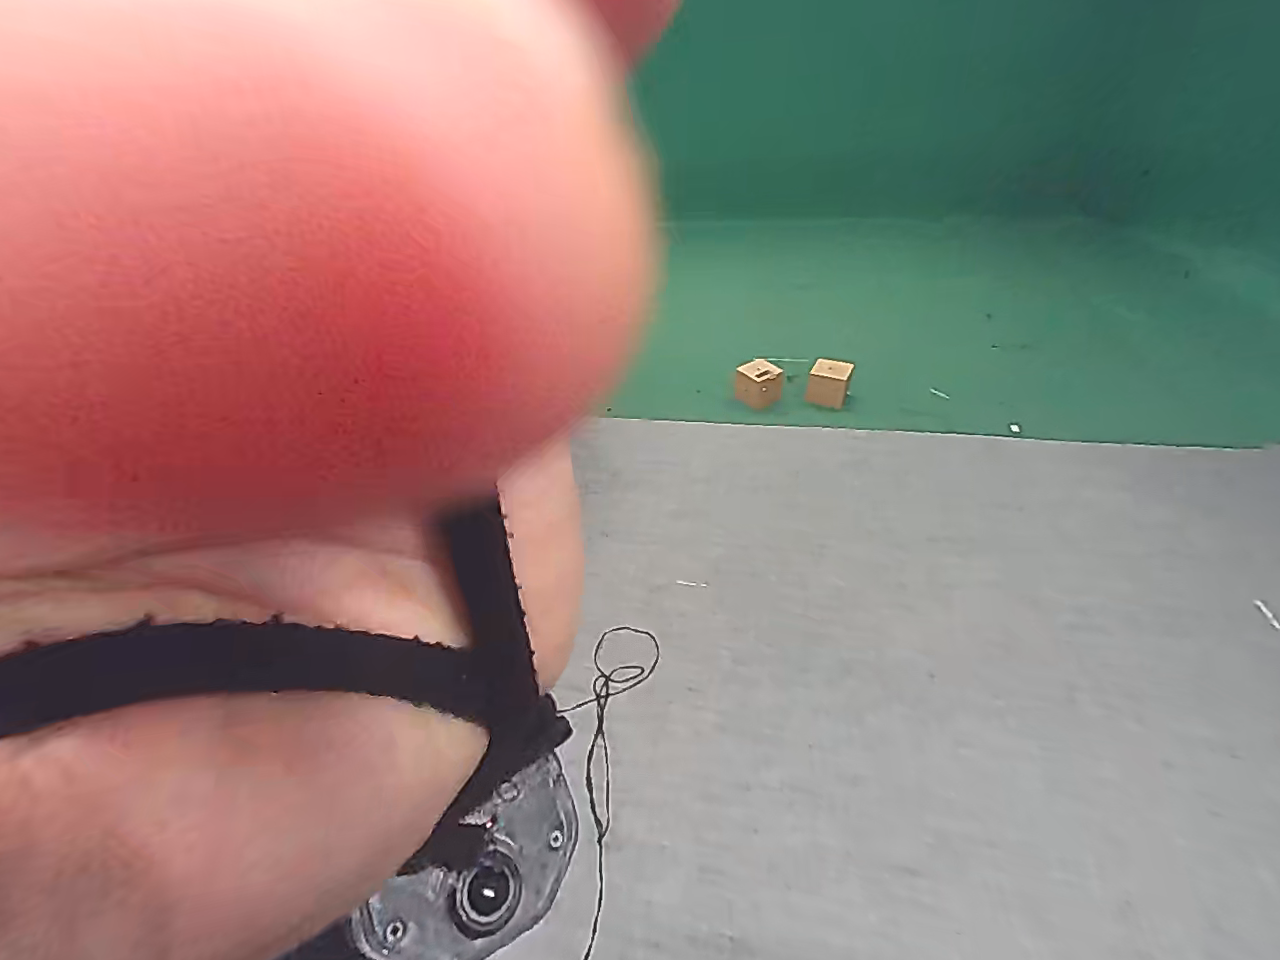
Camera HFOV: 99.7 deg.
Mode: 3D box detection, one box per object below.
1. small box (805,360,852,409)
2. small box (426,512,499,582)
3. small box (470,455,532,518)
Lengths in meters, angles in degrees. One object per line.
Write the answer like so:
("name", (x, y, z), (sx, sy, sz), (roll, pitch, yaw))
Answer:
("small box", (0.928, -0.468, 2.671), (0.179, 0.176, 0.168), (18, 46, 24))
("small box", (-0.647, 0.250, 1.999), (0.168, 0.176, 0.179), (12, 44, 19))
("small box", (-0.570, 0.027, 2.253), (0.168, 0.176, 0.179), (18, 47, 26))
